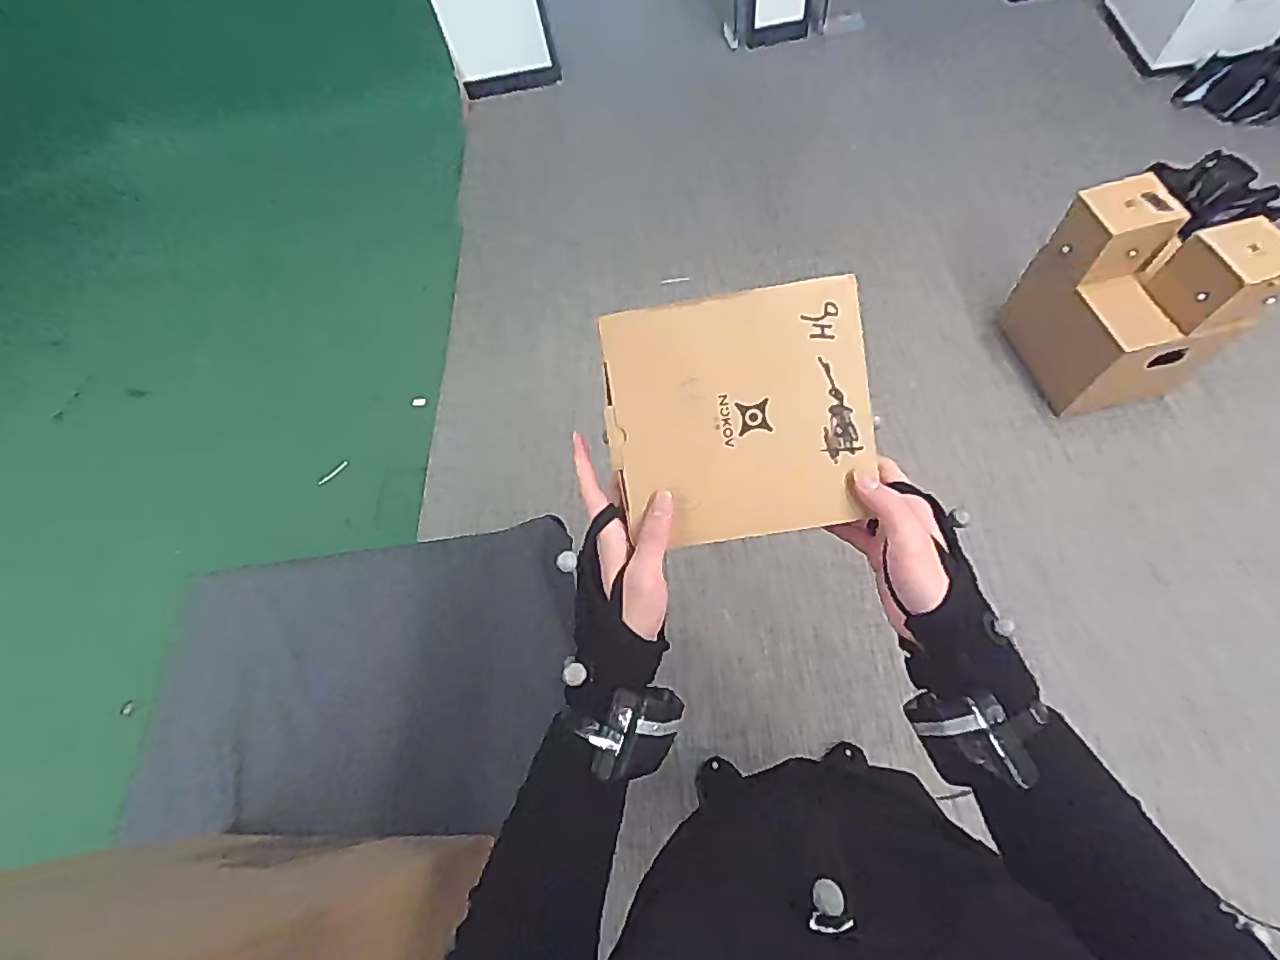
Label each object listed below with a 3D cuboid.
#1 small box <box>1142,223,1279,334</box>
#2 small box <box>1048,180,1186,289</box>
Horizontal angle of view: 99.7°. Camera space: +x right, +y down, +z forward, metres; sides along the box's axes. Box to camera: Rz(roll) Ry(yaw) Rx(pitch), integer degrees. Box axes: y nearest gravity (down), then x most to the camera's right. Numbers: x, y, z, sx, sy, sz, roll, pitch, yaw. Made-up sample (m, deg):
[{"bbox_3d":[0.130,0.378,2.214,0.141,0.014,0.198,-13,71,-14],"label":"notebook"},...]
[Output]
[{"bbox_3d":[1.376,-0.468,1.283,0.168,0.176,0.179,-14,62,-2],"label":"small box"},{"bbox_3d":[1.206,-0.623,1.385,0.179,0.176,0.168,-13,63,6],"label":"small box"}]
